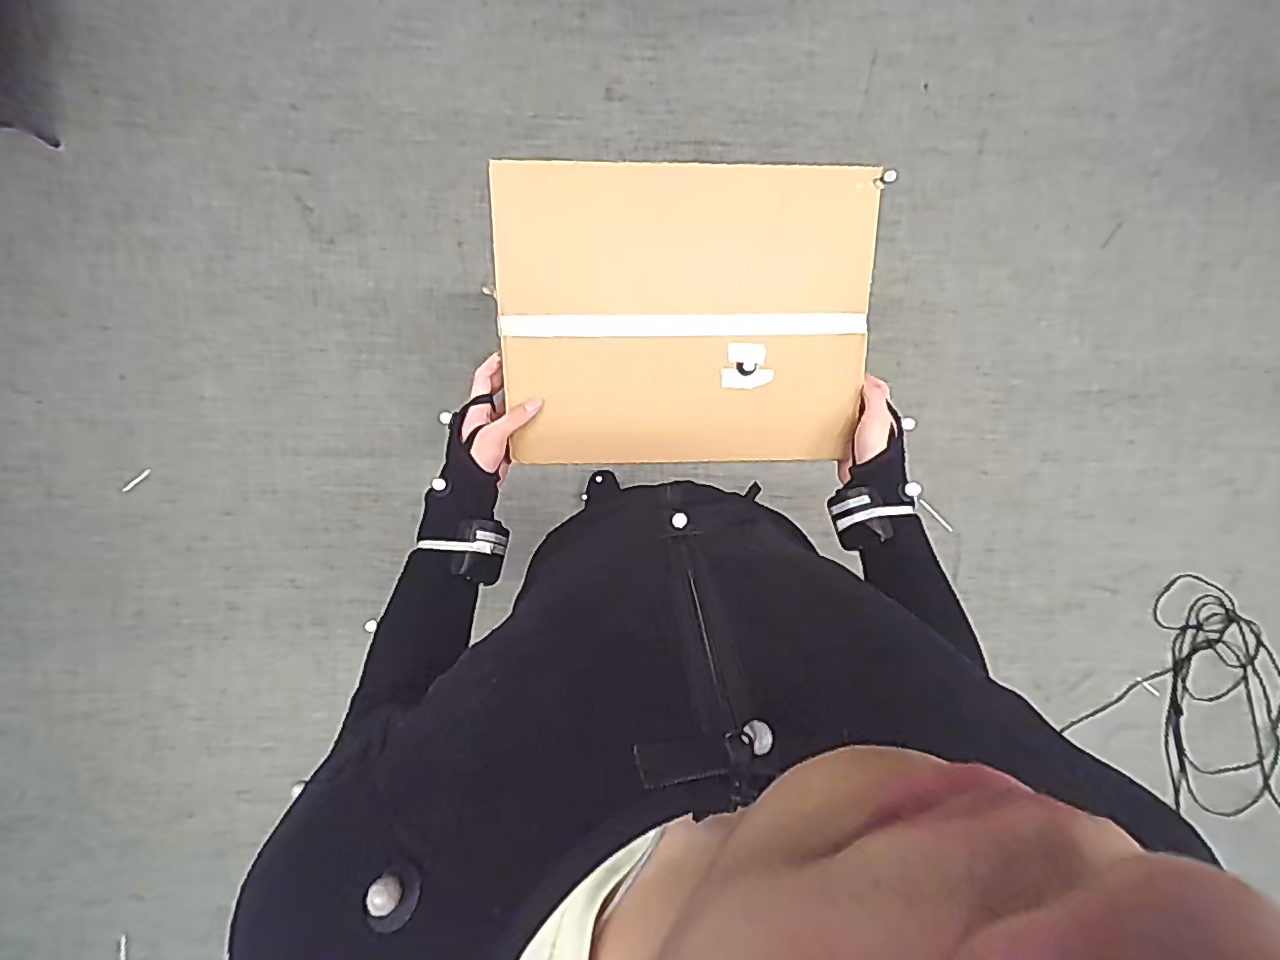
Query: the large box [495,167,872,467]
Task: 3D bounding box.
[{"bbox_3d":[0.041,-0.212,0.742,0.408,0.320,0.320,-2,107,-4],"label":"large box"}]
